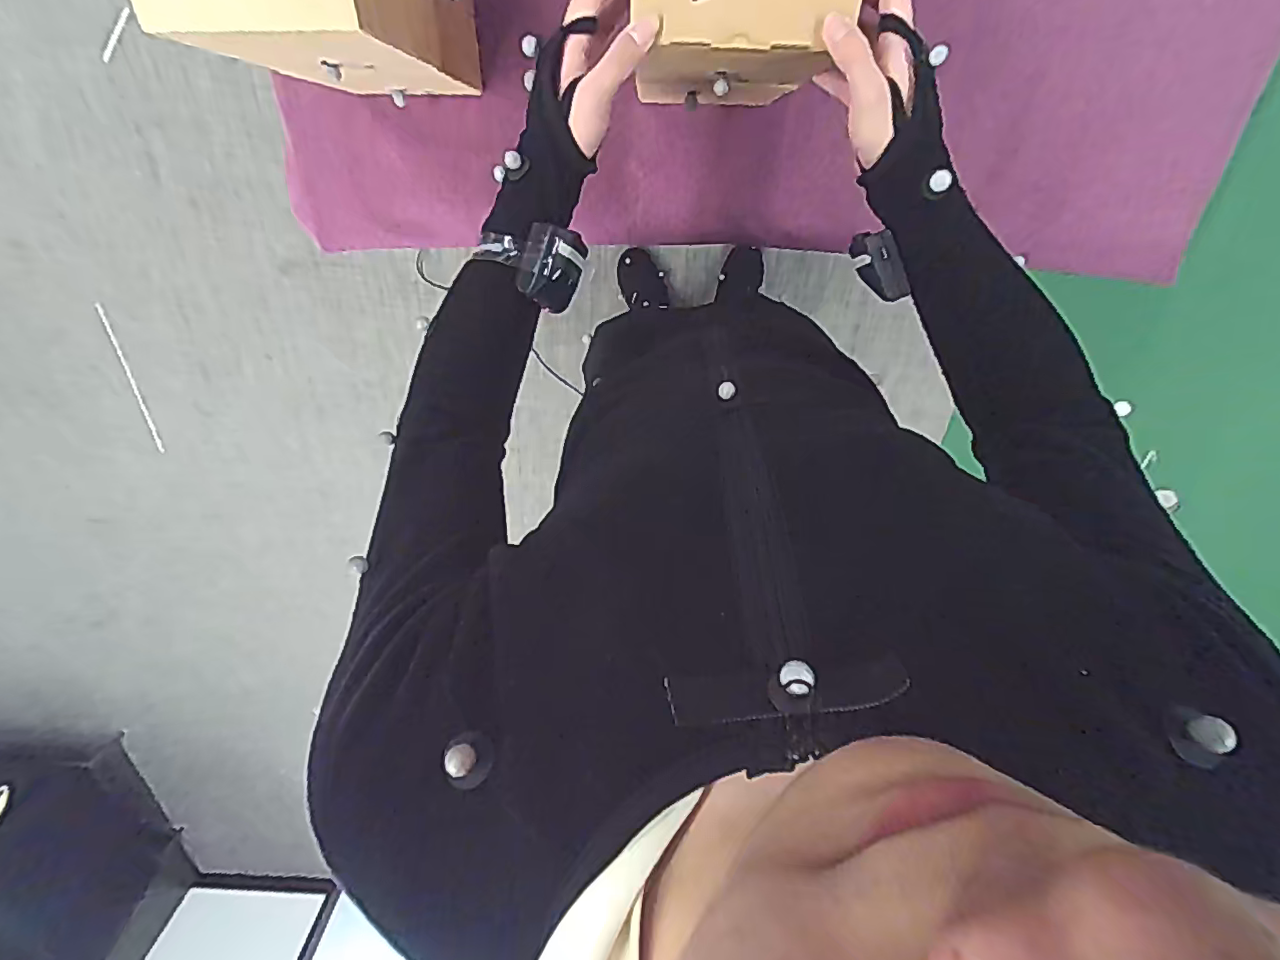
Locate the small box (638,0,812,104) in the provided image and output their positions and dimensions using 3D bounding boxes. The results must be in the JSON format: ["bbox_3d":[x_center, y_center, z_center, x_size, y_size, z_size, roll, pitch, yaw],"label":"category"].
[{"bbox_3d":[0.085,-0.510,0.569,0.168,0.176,0.179,2,118,1],"label":"small box"}]

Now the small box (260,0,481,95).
[{"bbox_3d":[-0.276,-0.522,0.564,0.168,0.176,0.179,1,120,1],"label":"small box"}]
